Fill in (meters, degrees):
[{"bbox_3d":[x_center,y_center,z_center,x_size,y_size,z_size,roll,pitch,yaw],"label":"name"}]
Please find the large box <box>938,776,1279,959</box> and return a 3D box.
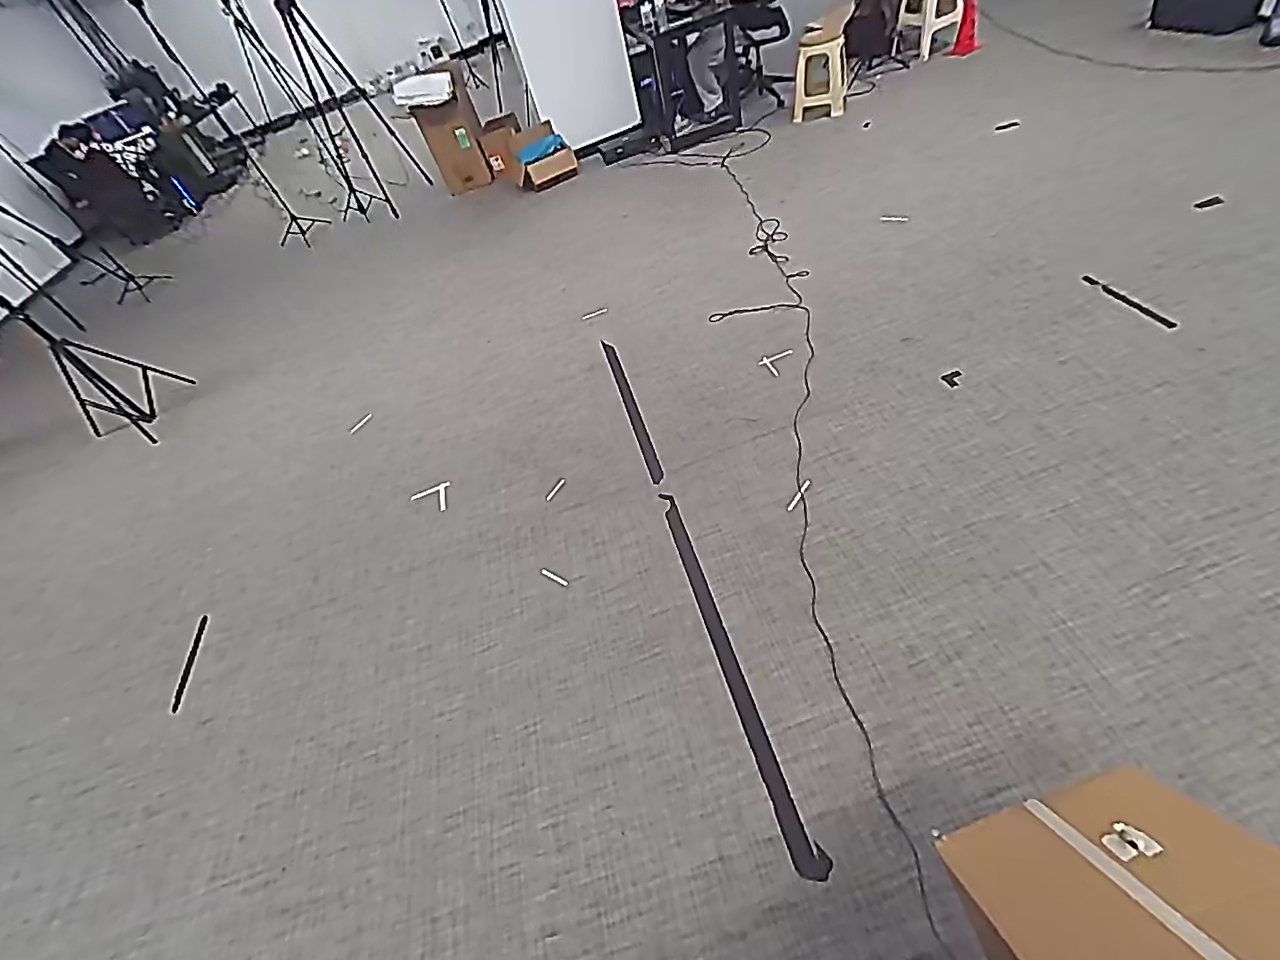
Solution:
[{"bbox_3d":[0.636,0.625,0.603,0.320,0.408,0.320,-23,84,2],"label":"large box"}]
